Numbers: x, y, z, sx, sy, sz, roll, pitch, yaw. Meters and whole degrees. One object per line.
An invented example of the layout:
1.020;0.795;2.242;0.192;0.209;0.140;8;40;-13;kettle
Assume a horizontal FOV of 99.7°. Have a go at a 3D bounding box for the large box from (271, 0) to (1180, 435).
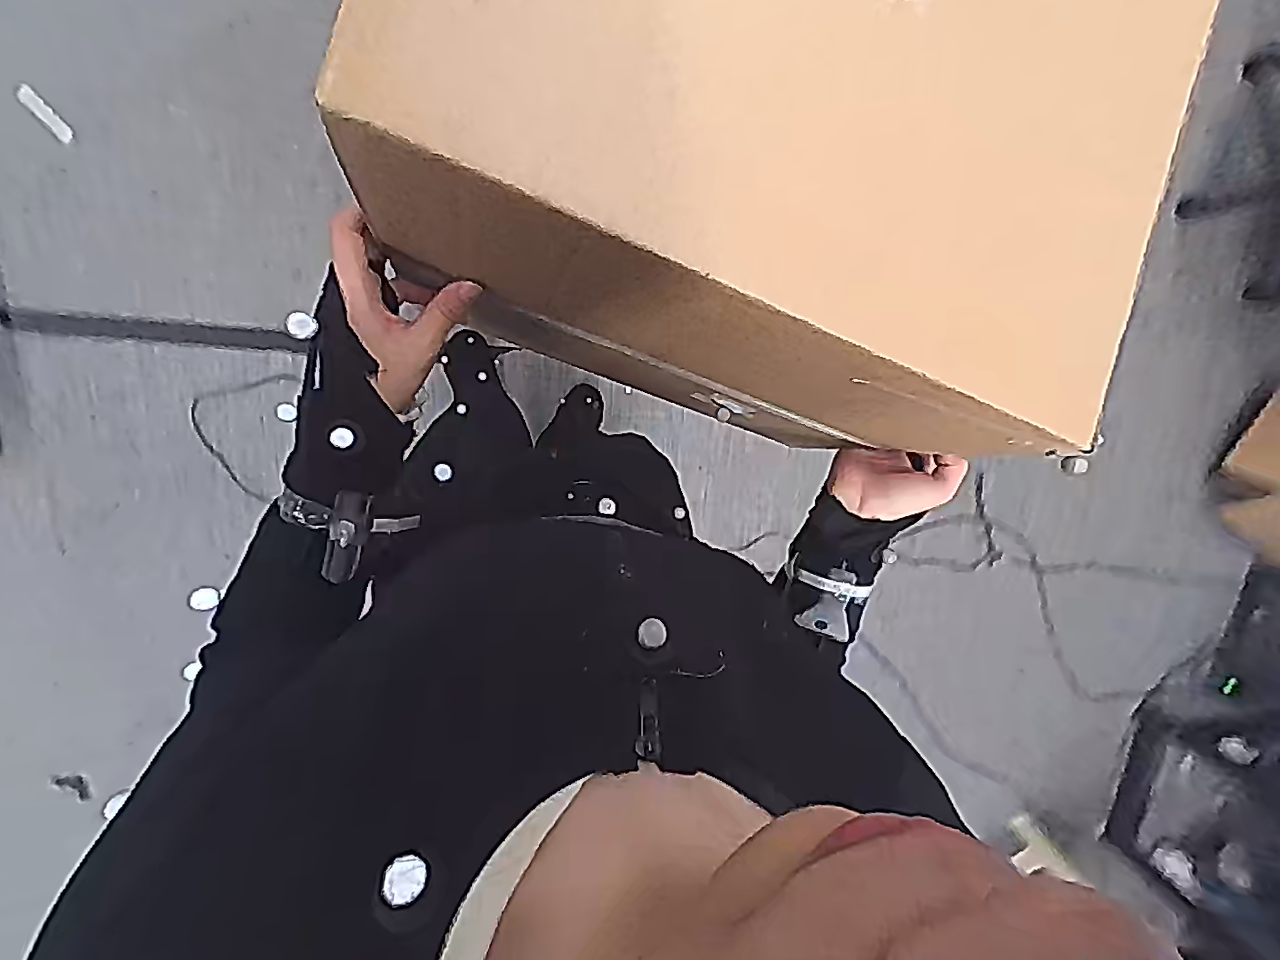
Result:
0.051;-0.236;0.383;0.408;0.320;0.320;15;92;-16;large box
